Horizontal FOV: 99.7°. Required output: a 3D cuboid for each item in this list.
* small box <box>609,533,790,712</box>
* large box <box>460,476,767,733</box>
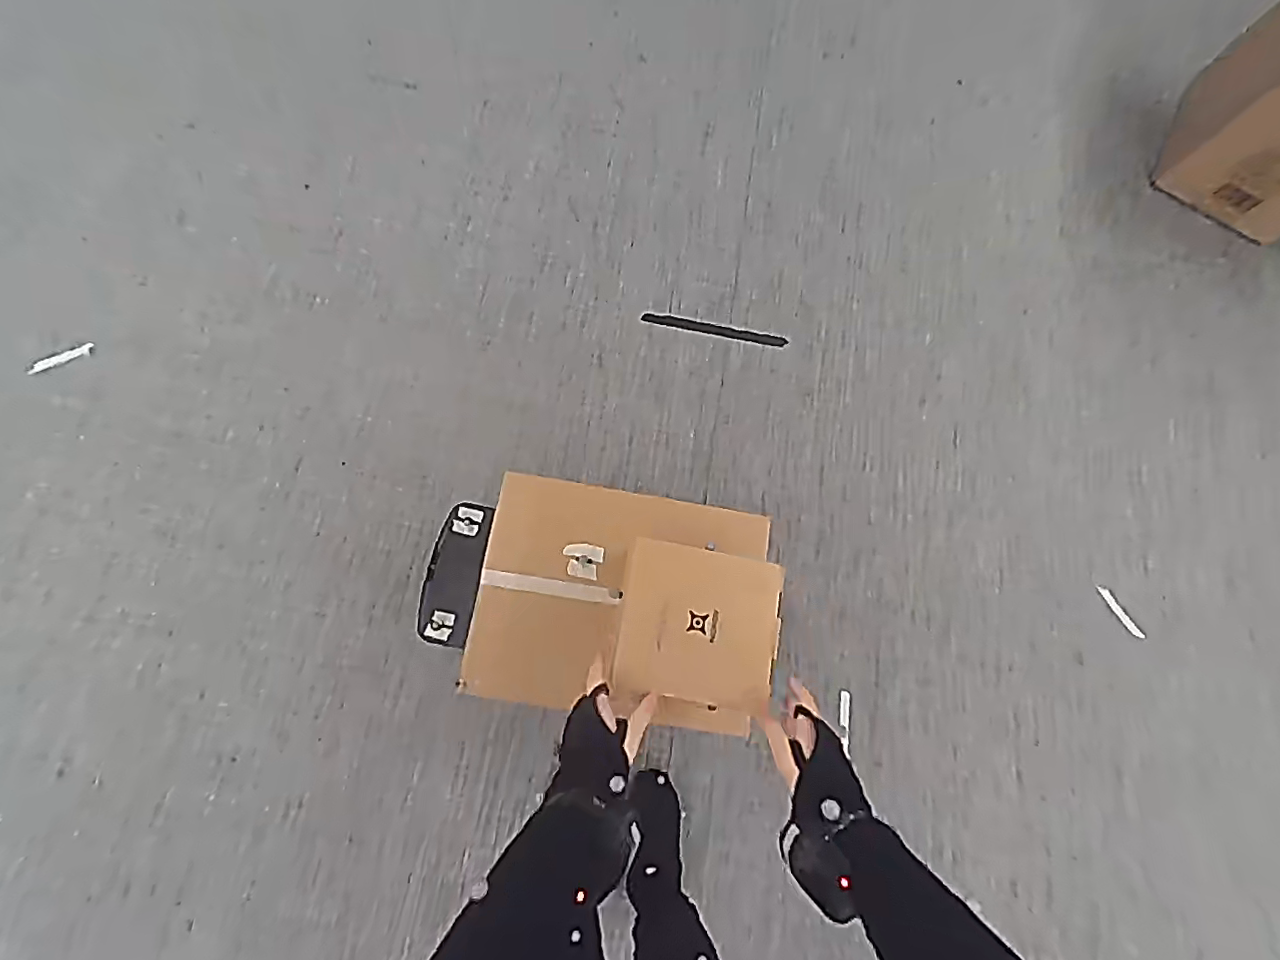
[{"bbox_3d":[0.064,0.171,0.670,0.179,0.176,0.168,12,76,-2],"label":"small box"},{"bbox_3d":[-0.034,0.204,0.907,0.408,0.320,0.320,10,75,-2],"label":"large box"}]
